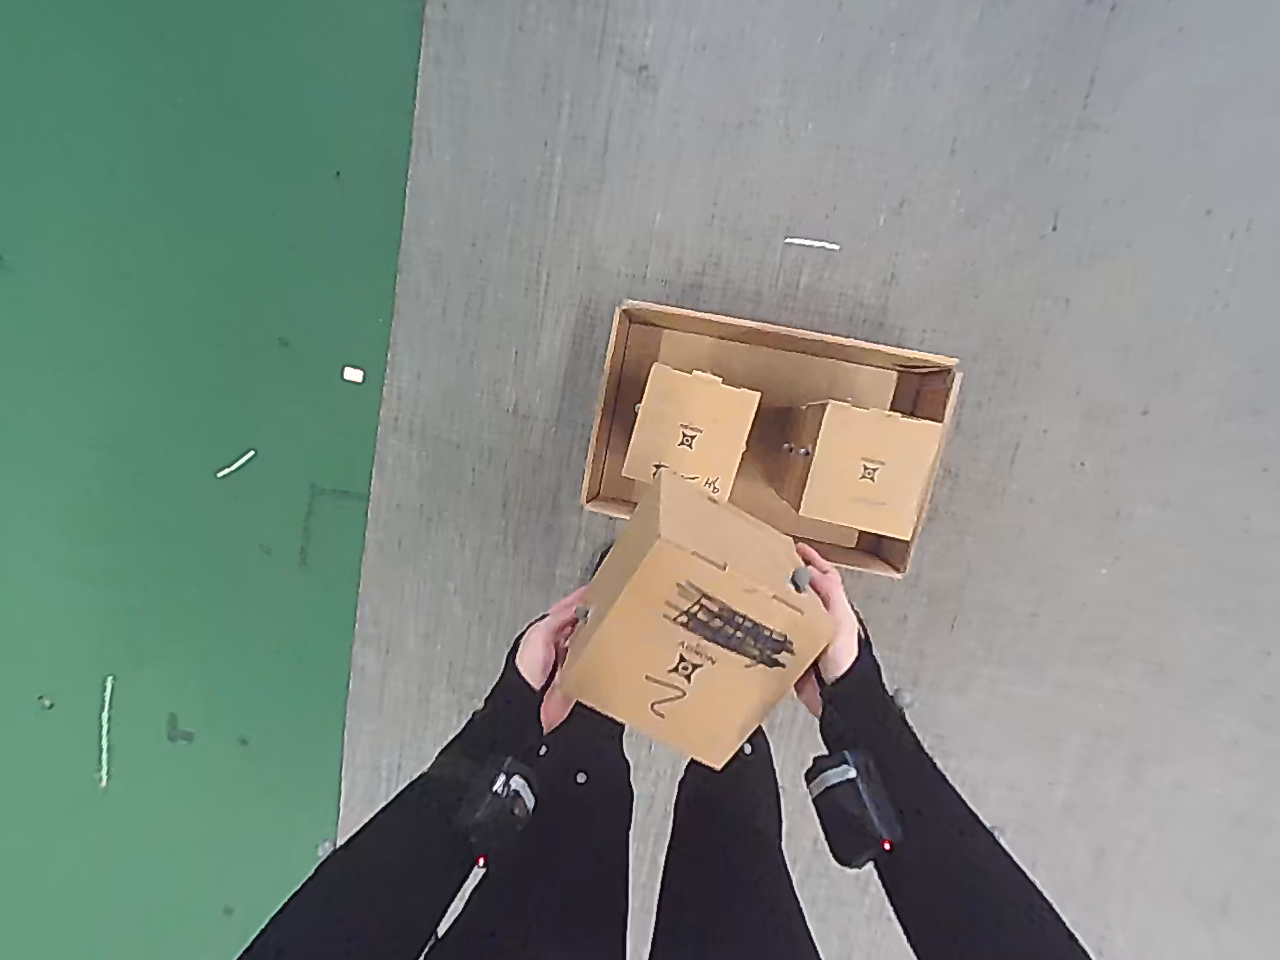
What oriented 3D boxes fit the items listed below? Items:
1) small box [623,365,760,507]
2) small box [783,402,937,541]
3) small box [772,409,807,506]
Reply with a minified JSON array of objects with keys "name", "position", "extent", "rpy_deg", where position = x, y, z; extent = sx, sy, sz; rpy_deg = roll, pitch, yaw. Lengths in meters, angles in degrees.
[{"name":"small box","position":[0.080,-0.073,0.885],"extent":[0.168,0.176,0.179],"rpy_deg":[17,97,3]},{"name":"small box","position":[0.338,-0.020,0.871],"extent":[0.168,0.176,0.179],"rpy_deg":[14,98,5]},{"name":"small box","position":[0.356,-0.035,1.033],"extent":[0.168,0.176,0.179],"rpy_deg":[11,97,4]}]
